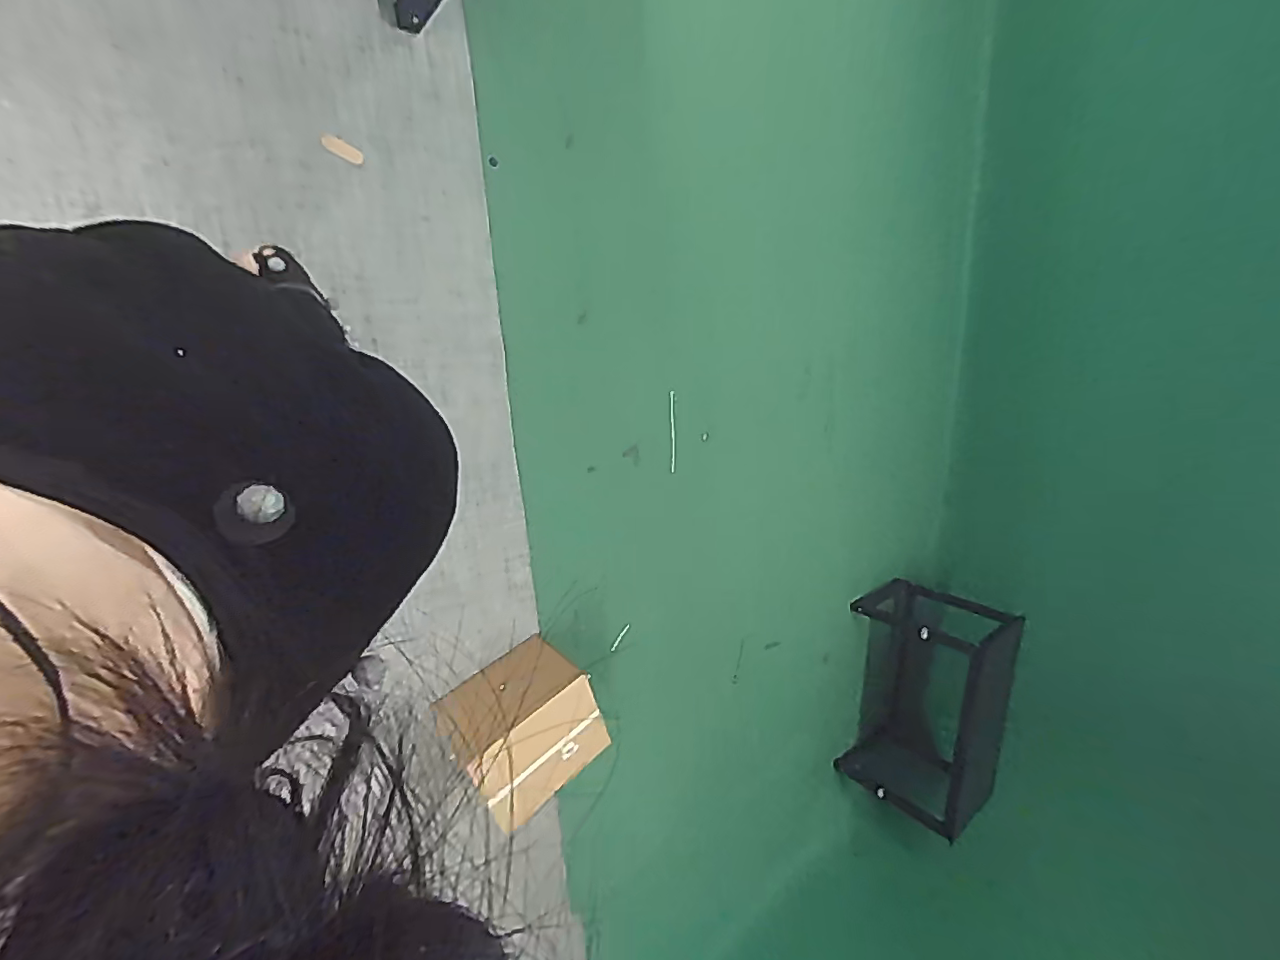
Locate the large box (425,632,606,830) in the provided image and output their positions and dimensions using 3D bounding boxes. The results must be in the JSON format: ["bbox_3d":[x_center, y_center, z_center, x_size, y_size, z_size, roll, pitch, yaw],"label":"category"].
[{"bbox_3d":[-0.385,0.760,1.698,0.408,0.320,0.320,-31,120,-32],"label":"large box"}]
